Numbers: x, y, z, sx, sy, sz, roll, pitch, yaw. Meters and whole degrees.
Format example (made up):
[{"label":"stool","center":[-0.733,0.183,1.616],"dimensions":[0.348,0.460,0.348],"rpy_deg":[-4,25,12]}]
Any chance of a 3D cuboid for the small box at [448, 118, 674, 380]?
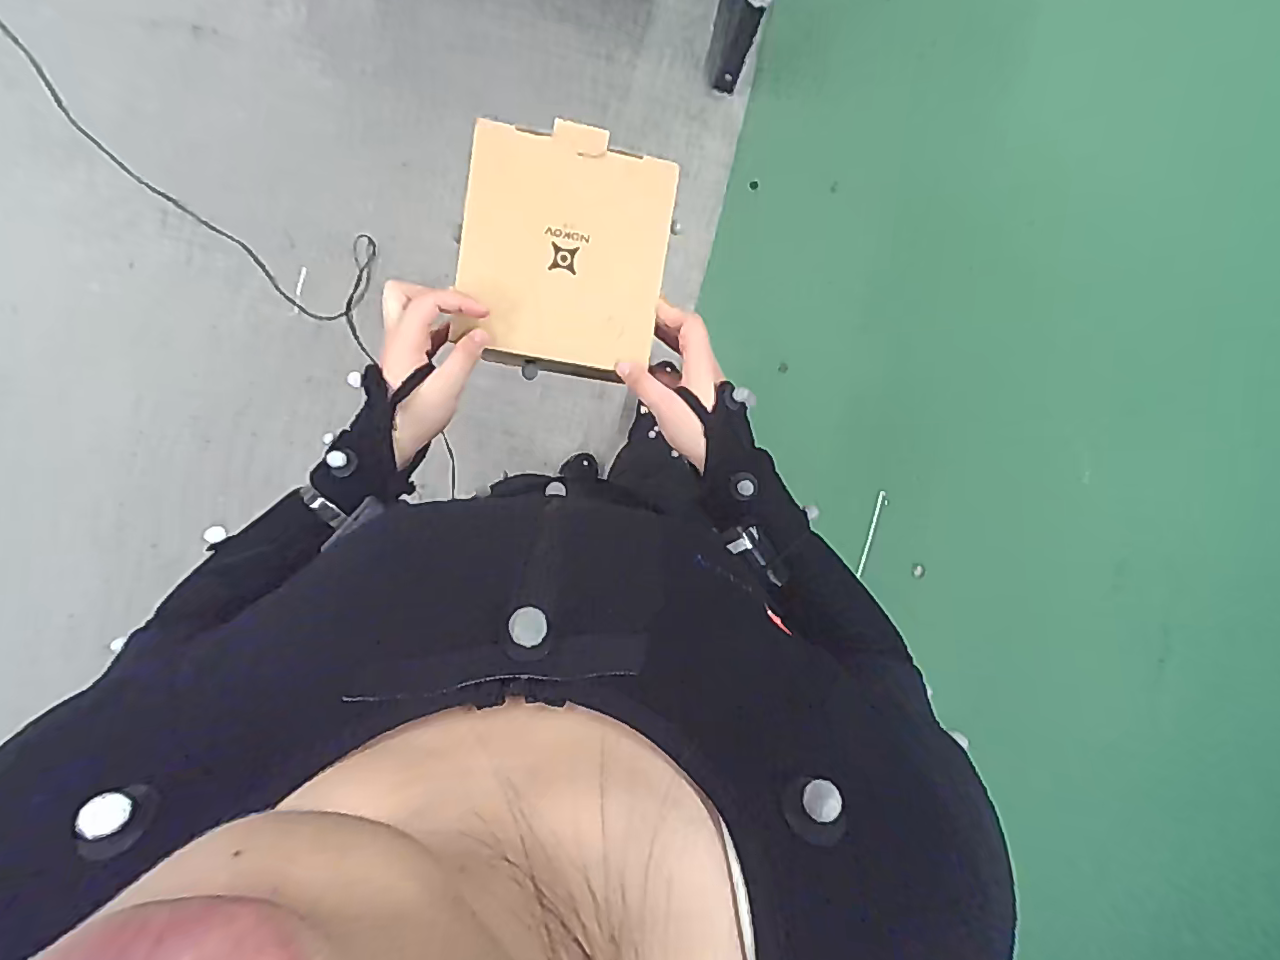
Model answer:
[{"label":"small box","center":[-0.072,-0.195,0.516],"dimensions":[0.168,0.176,0.179],"rpy_deg":[7,95,-7]}]
